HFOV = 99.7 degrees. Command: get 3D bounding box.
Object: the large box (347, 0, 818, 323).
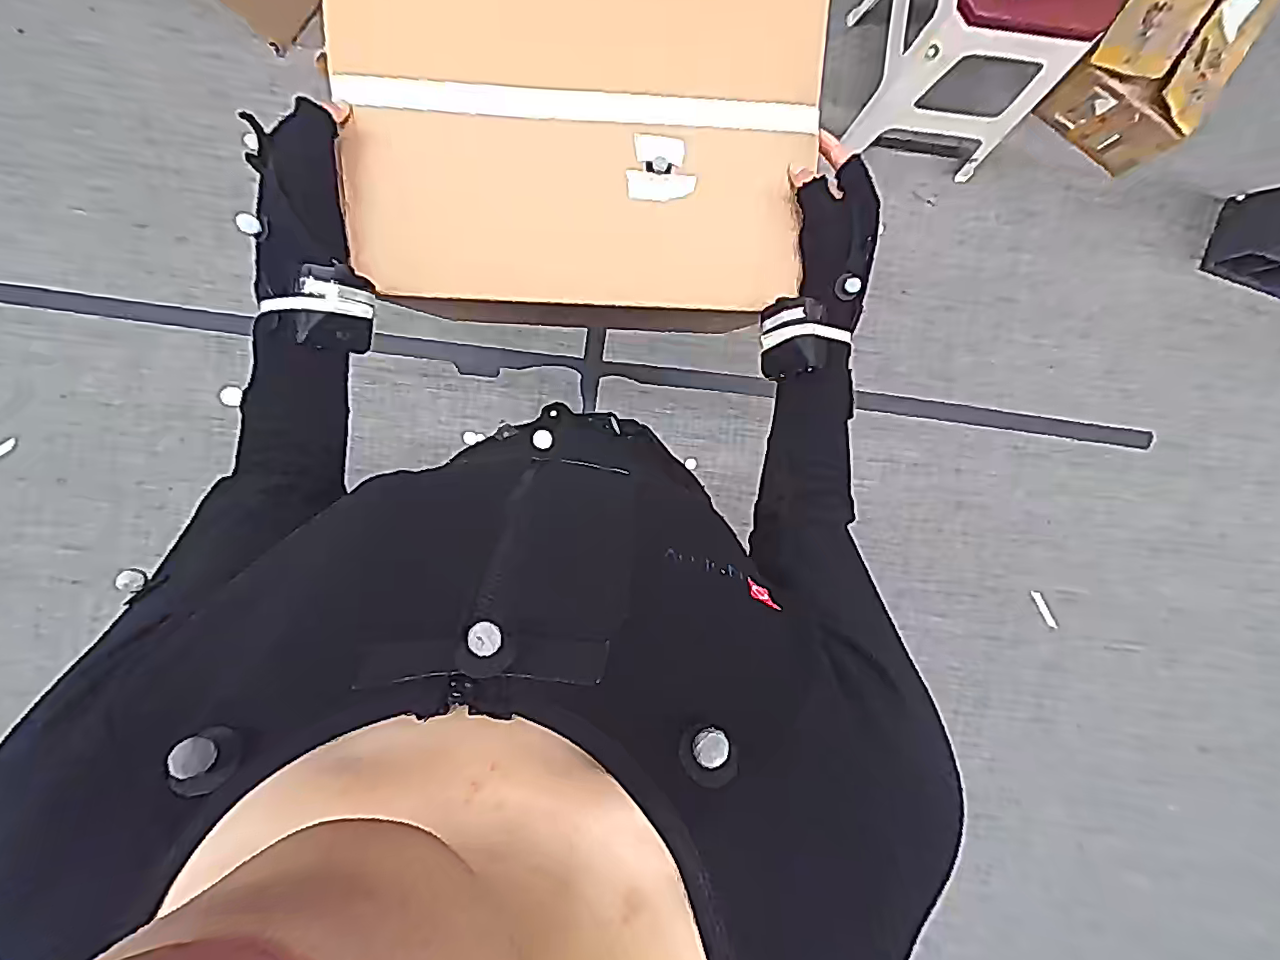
[{"bbox_3d":[-0.058,-0.353,0.618,0.408,0.320,0.320,1,103,-5],"label":"large box"}]
